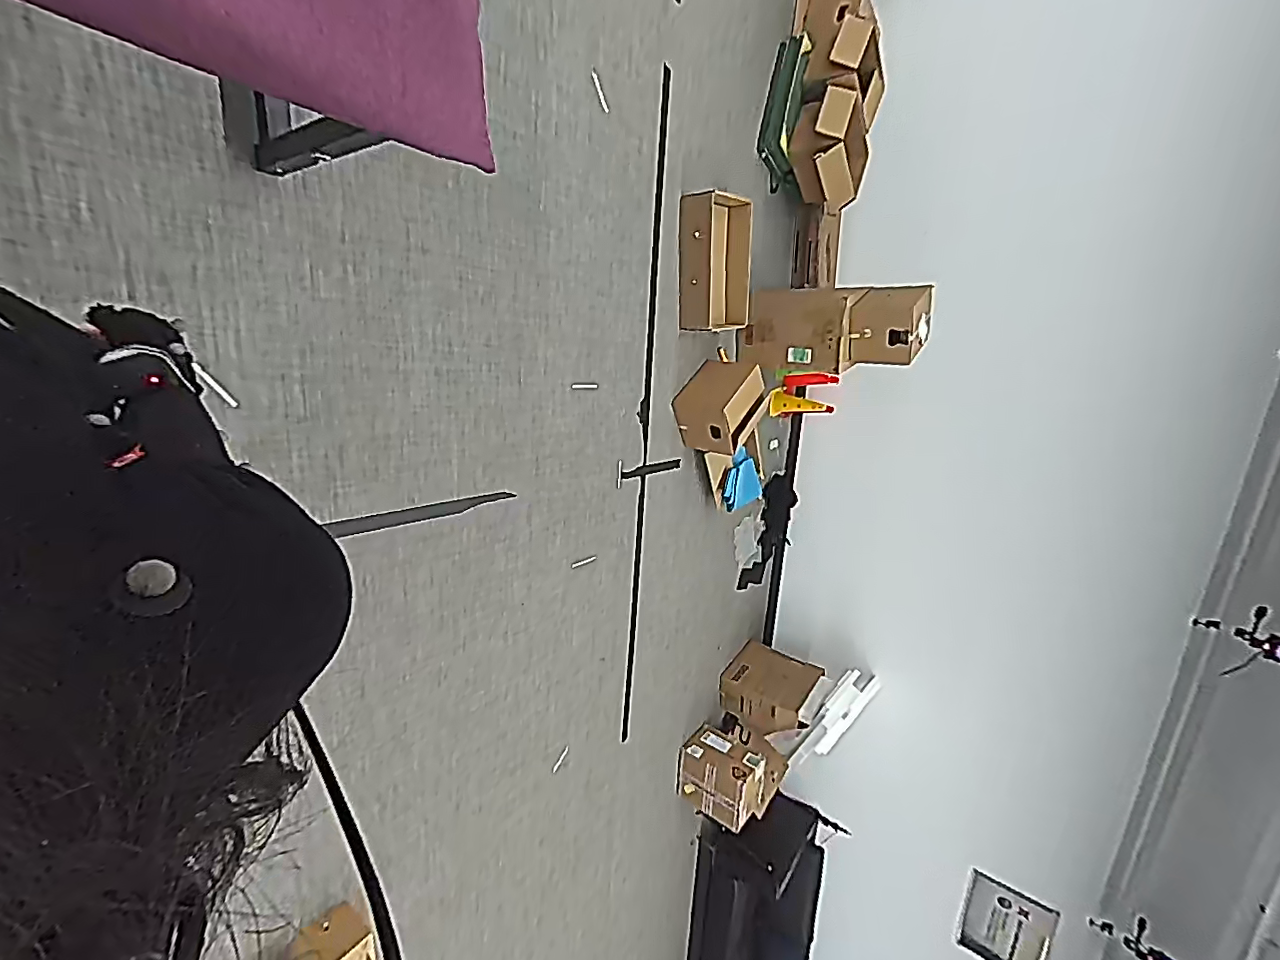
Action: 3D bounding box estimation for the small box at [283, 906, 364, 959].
[{"bbox_3d":[-0.998,1.515,1.700,0.179,0.176,0.168,-15,113,-52],"label":"small box"}]
